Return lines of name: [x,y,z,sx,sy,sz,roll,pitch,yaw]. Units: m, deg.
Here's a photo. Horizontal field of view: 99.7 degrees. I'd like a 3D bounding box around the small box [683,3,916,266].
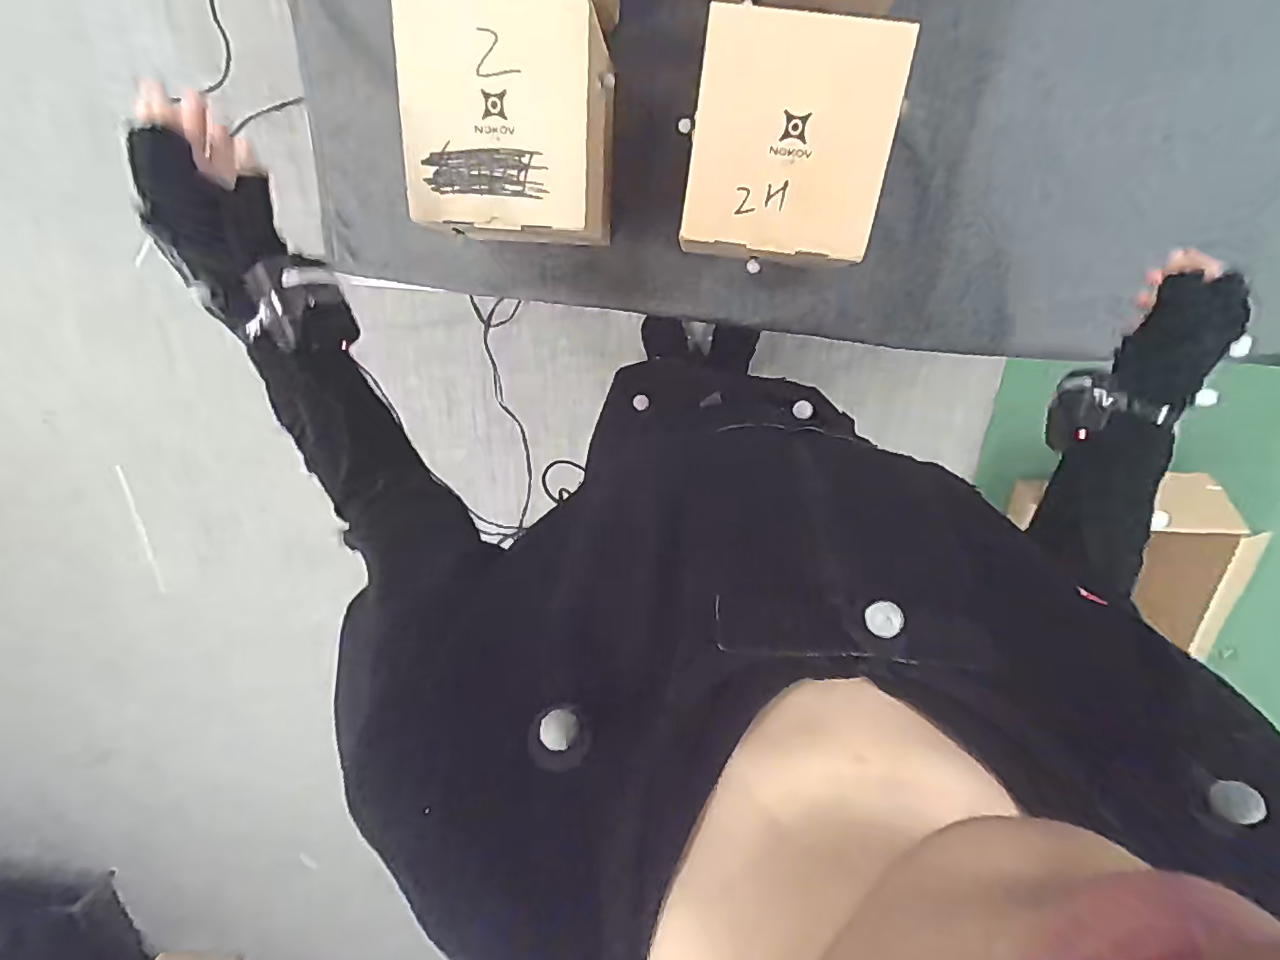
small box: [0.134,-0.314,0.530,0.168,0.176,0.179,8,111,2]
